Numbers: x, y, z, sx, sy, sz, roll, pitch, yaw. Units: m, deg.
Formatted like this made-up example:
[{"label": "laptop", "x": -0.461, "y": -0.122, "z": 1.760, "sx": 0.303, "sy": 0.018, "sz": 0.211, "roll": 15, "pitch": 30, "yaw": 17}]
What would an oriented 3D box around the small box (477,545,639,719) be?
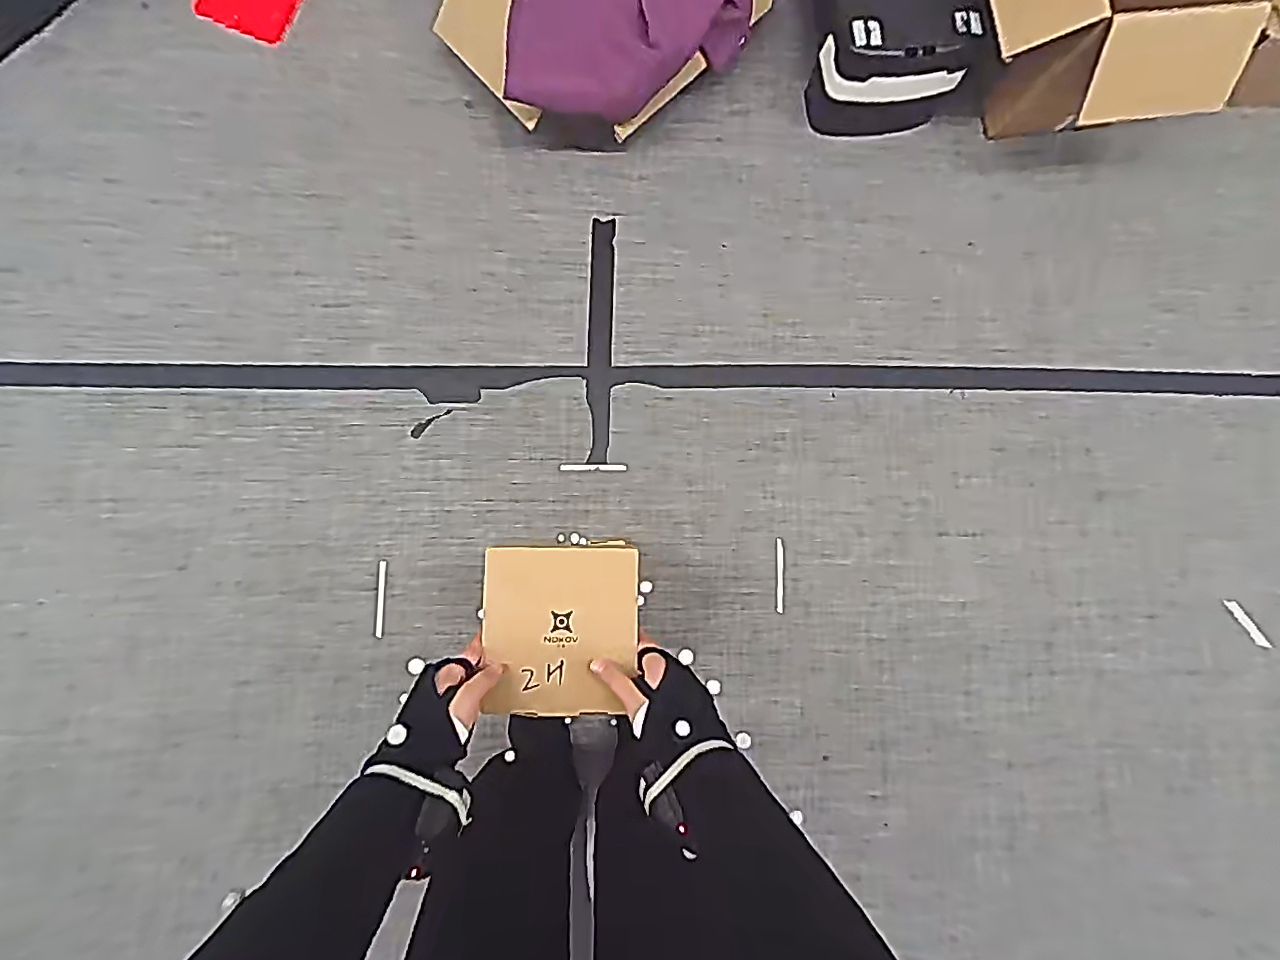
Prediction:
[{"label": "small box", "x": -0.087, "y": 0.166, "z": 0.638, "sx": 0.168, "sy": 0.176, "sz": 0.179, "roll": 0, "pitch": 85, "yaw": -1}]
